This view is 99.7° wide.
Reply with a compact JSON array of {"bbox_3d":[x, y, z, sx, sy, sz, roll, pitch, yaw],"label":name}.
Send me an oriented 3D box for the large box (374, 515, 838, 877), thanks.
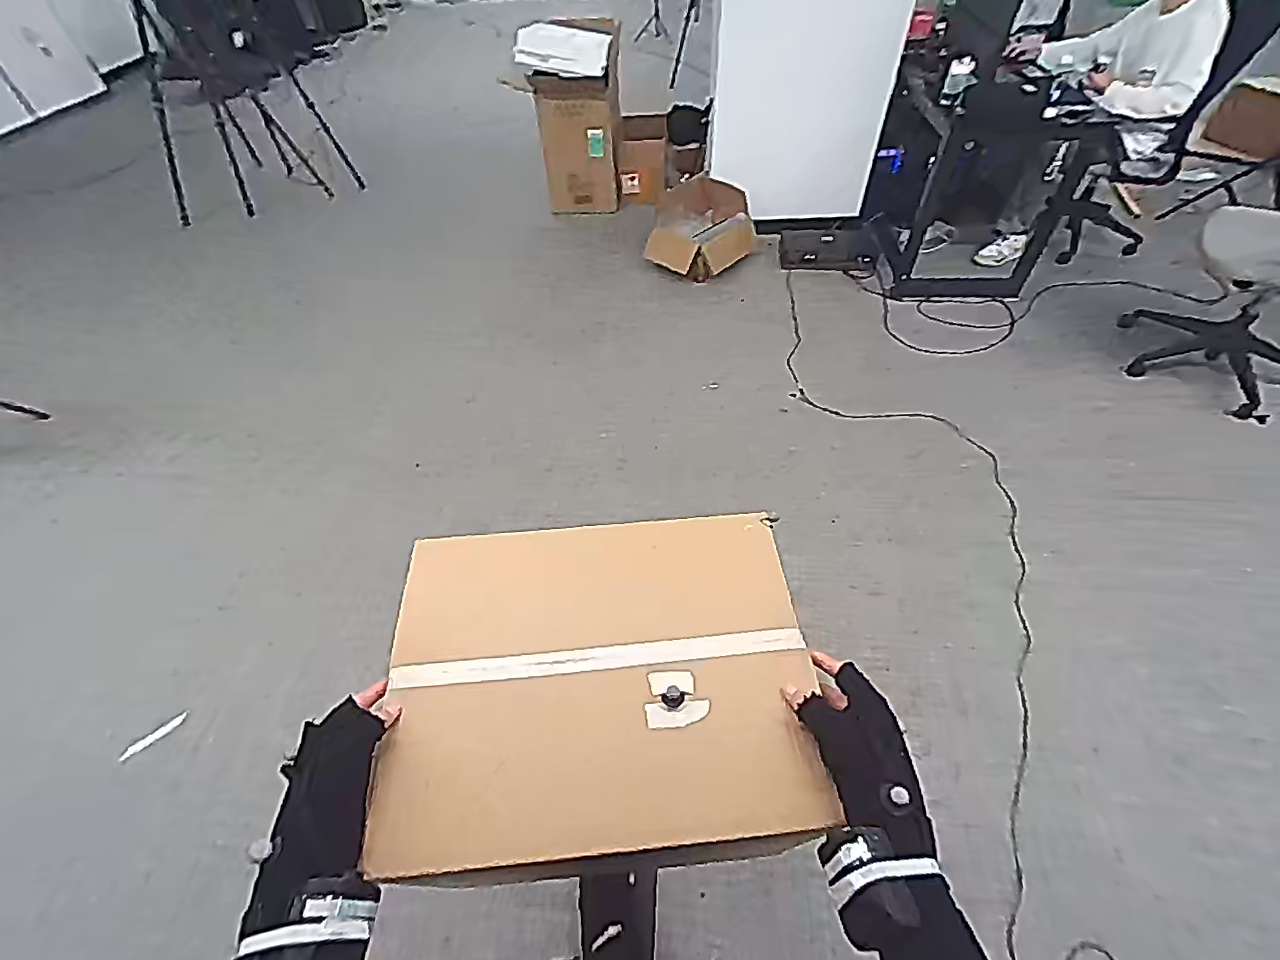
[{"bbox_3d":[-0.038,0.267,0.662,0.408,0.320,0.320,-3,52,-3],"label":"large box"}]
